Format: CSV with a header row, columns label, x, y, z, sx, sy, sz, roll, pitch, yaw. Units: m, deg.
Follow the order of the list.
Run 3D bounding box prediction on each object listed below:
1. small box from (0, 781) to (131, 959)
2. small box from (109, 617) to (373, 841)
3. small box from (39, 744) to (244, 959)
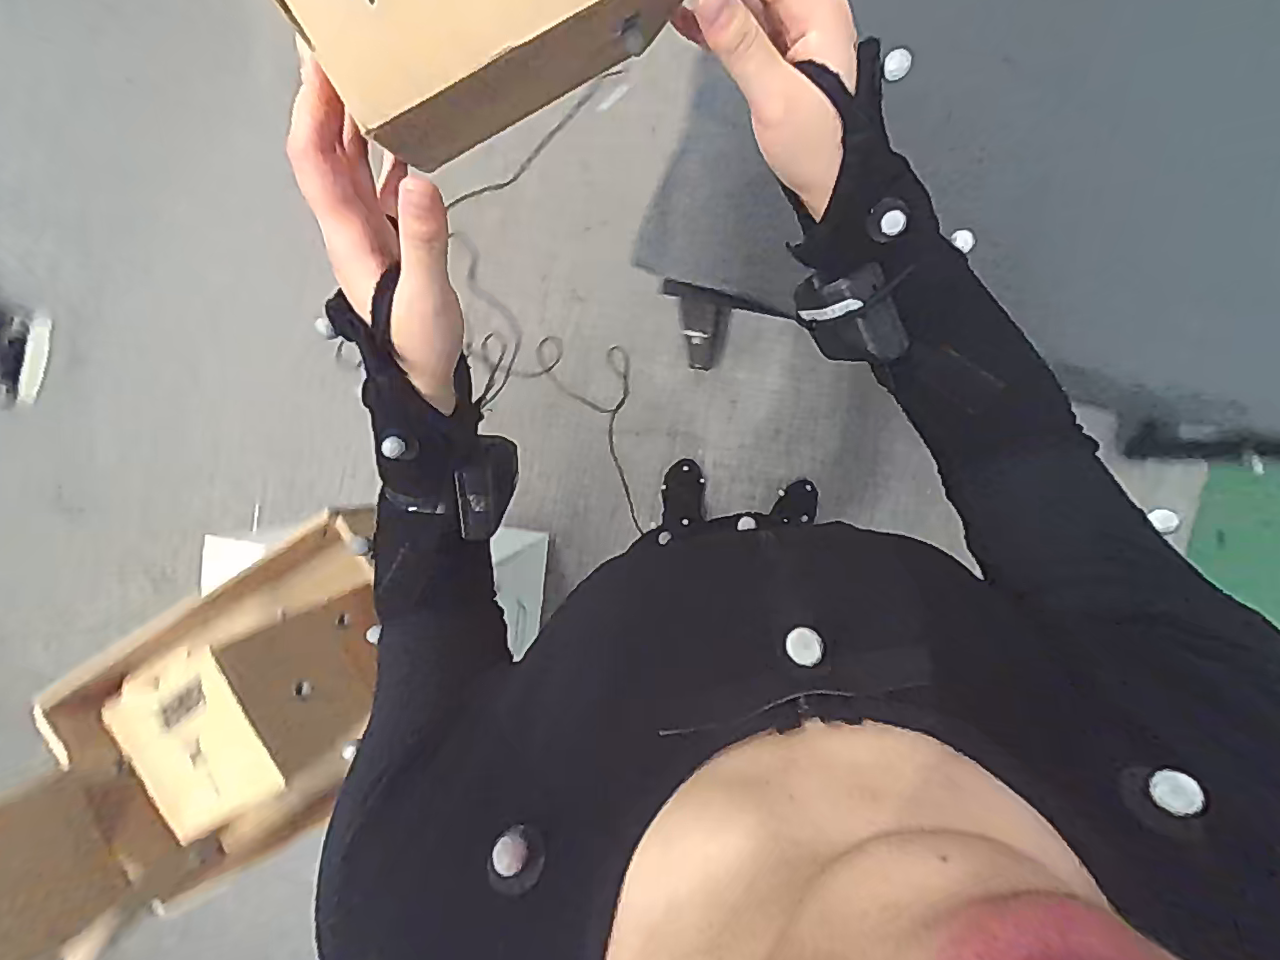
label,x,y,z,sx,sy,sz,roll,pitch,yaw
small box,-0.699,0.446,0.554,0.168,0.176,0.179,-26,91,7
small box,-0.486,0.294,0.685,0.168,0.176,0.179,-30,90,9
small box,-0.677,0.466,0.719,0.179,0.176,0.168,33,96,1
